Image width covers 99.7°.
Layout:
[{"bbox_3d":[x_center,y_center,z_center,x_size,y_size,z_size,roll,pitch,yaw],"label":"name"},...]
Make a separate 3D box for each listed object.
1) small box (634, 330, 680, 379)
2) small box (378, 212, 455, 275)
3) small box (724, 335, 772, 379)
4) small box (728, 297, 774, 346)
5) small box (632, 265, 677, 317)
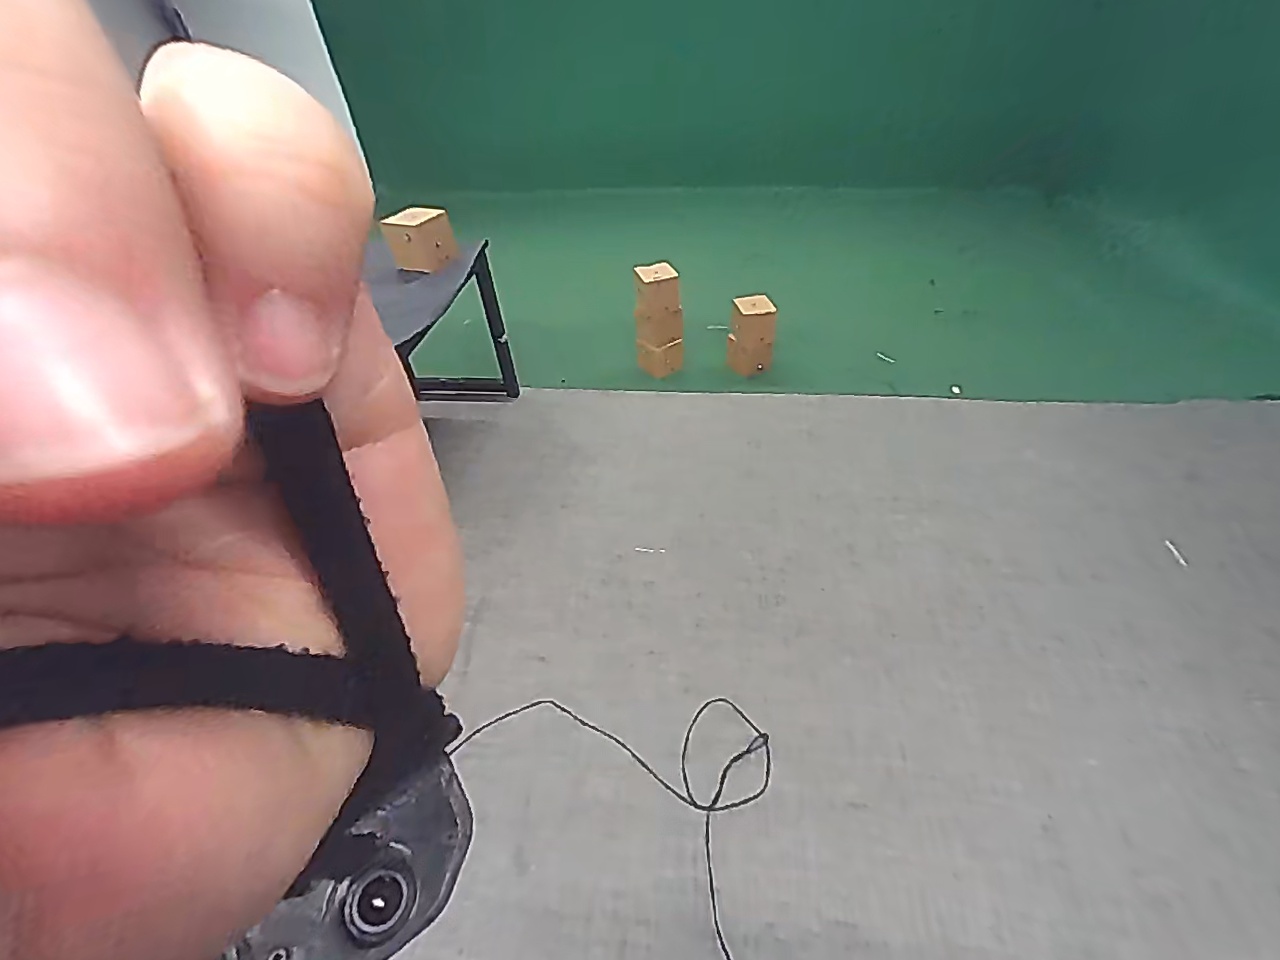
[{"bbox_3d":[0.091,-0.632,2.745,0.168,0.176,0.179,-30,48,-25],"label":"small box"},{"bbox_3d":[-0.818,-0.872,1.996,0.179,0.176,0.168,15,46,23],"label":"small box"},{"bbox_3d":[0.536,-0.633,2.708,0.168,0.176,0.179,-25,48,-20],"label":"small box"},{"bbox_3d":[0.532,-0.758,2.603,0.168,0.176,0.179,-9,43,-7],"label":"small box"},{"bbox_3d":[0.067,-0.884,2.535,0.168,0.176,0.179,-15,44,-11],"label":"small box"}]
